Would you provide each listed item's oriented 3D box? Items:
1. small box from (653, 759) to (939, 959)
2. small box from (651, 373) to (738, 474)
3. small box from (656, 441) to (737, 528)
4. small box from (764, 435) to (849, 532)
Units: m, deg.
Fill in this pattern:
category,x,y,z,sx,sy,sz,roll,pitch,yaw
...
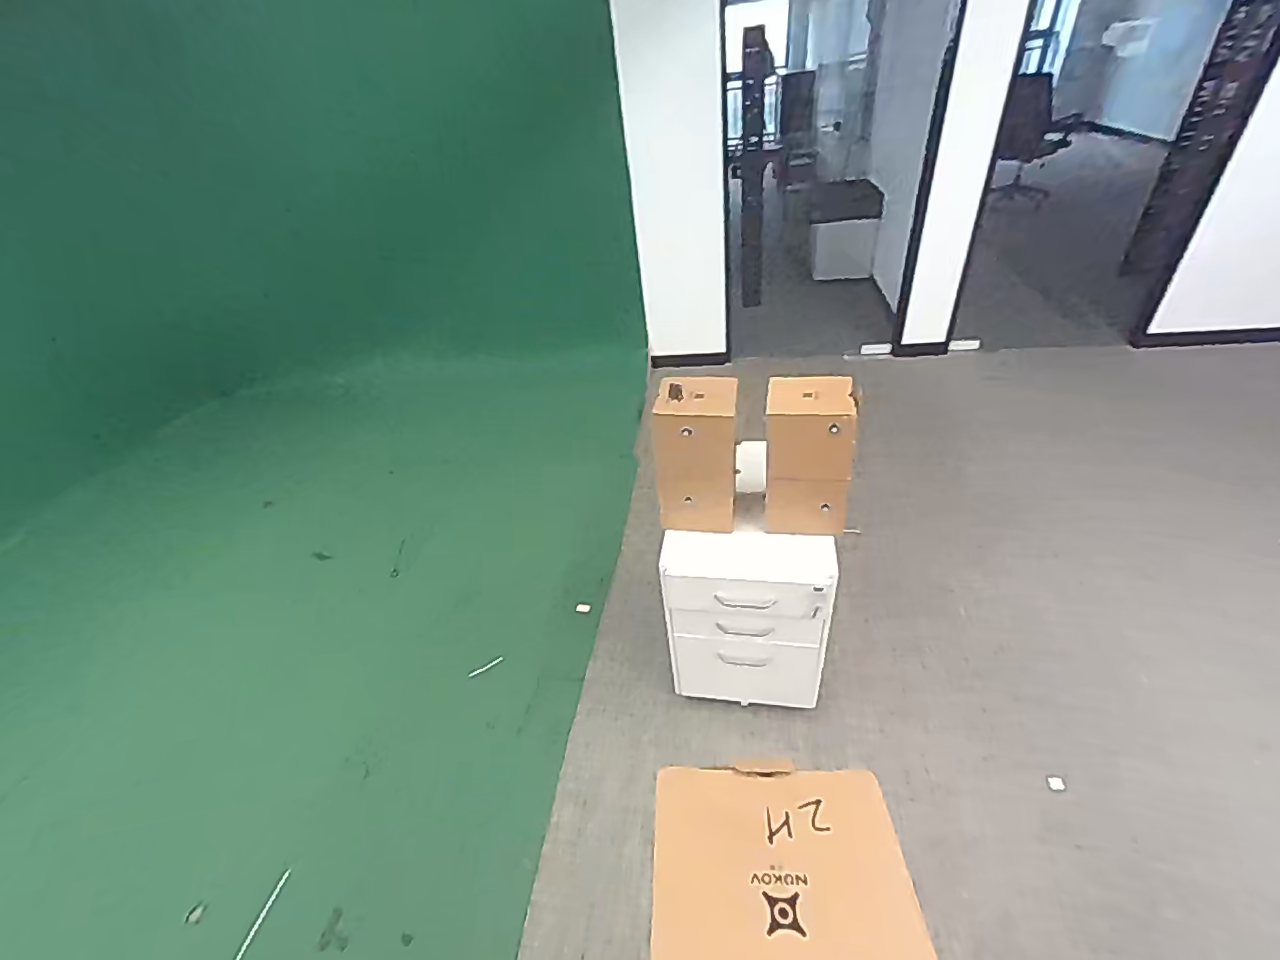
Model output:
category,x,y,z,sx,sy,sz,roll,pitch,yaw
small box,0.097,0.330,0.379,0.168,0.176,0.179,0,29,5
small box,0.129,-0.128,1.227,0.179,0.176,0.168,4,40,11
small box,0.144,0.003,1.326,0.179,0.176,0.168,3,40,12
small box,0.386,0.010,1.279,0.179,0.176,0.168,0,38,13
